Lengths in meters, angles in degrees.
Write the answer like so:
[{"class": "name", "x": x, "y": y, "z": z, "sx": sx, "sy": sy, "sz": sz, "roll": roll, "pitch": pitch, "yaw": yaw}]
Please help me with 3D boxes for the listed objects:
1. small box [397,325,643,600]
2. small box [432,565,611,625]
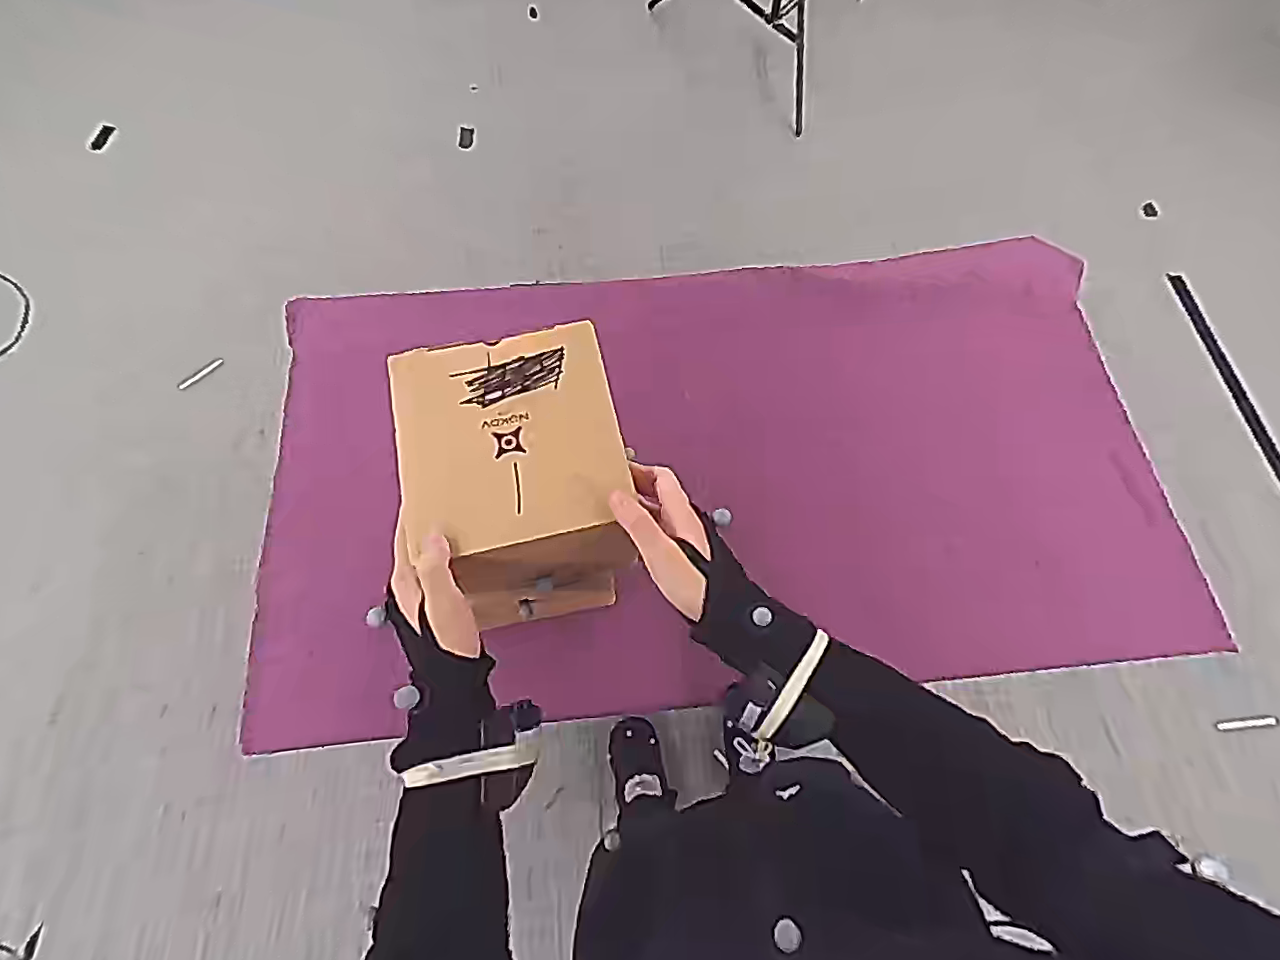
[{"class": "small box", "x": -0.099, "y": -0.006, "z": 0.484, "sx": 0.168, "sy": 0.176, "sz": 0.179, "roll": -13, "pitch": 71, "yaw": -6}, {"class": "small box", "x": -0.131, "y": 0.067, "z": 0.632, "sx": 0.179, "sy": 0.176, "sz": 0.168, "roll": -11, "pitch": 70, "yaw": -5}]
